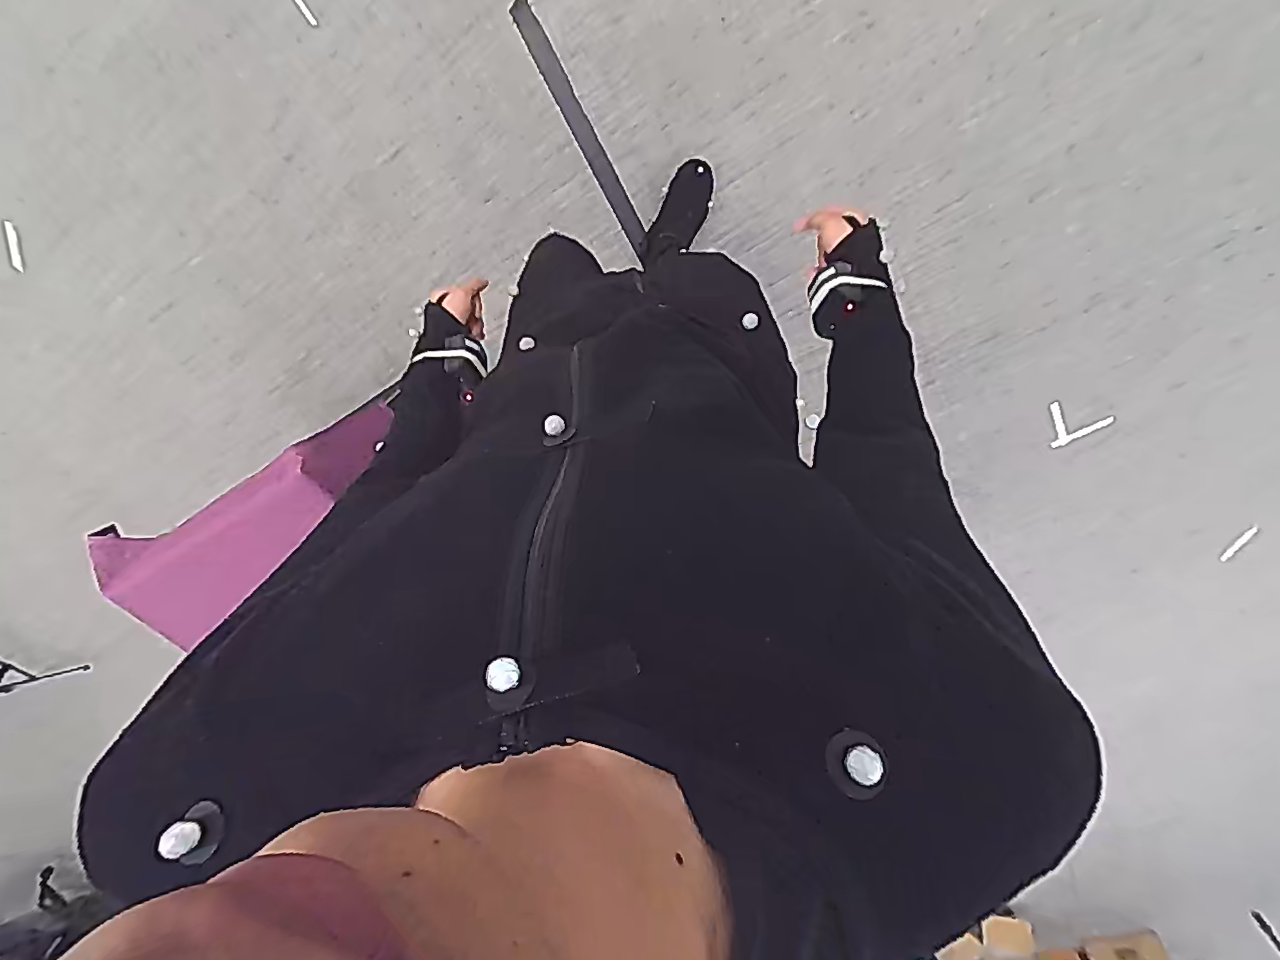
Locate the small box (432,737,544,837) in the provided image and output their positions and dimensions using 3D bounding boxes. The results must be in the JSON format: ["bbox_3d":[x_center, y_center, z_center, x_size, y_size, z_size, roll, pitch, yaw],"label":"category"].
[{"bbox_3d":[-0.354,0.755,1.300,0.168,0.176,0.179,-36,112,20],"label":"small box"}]
